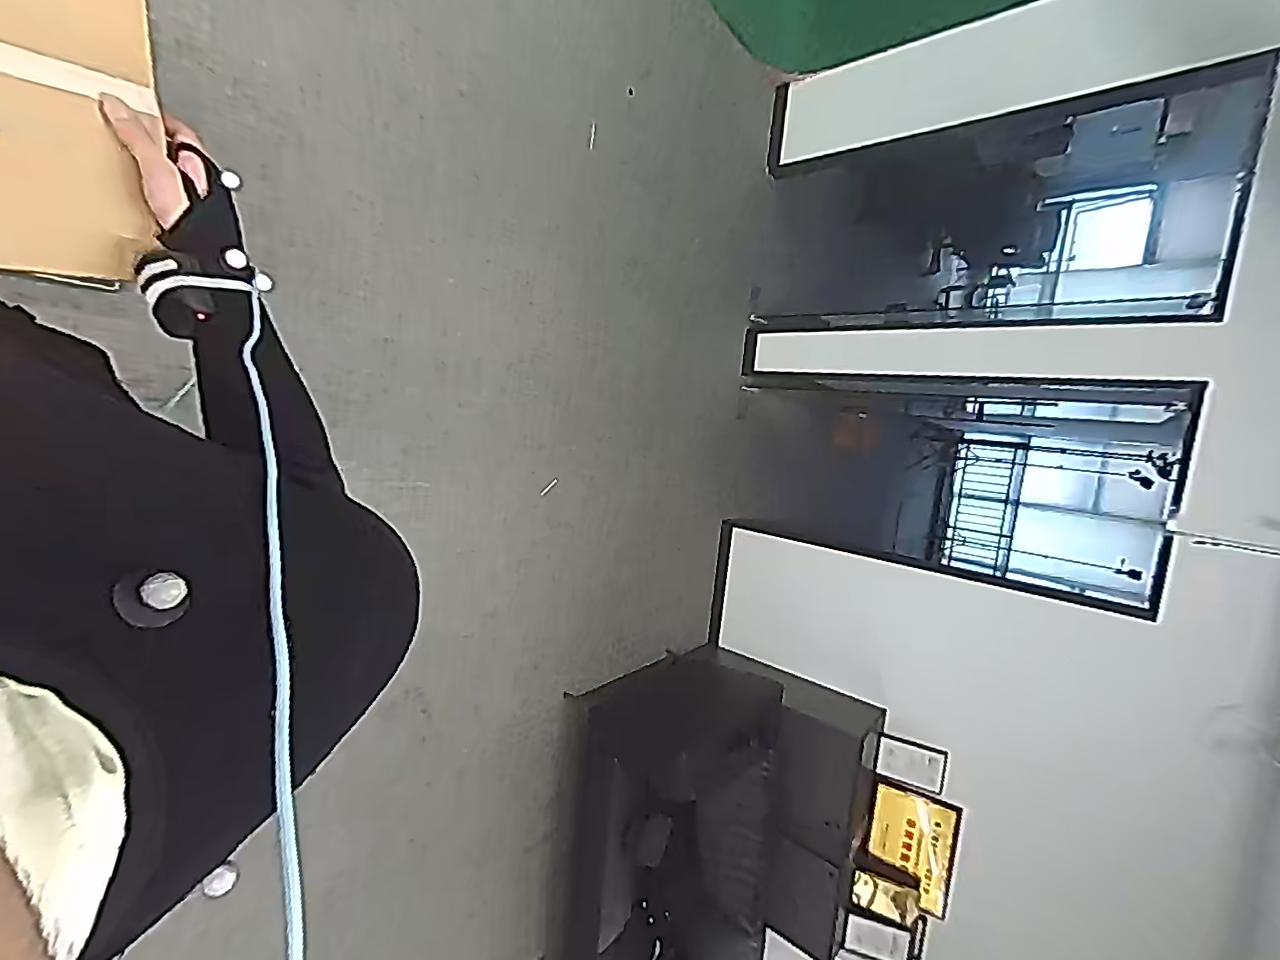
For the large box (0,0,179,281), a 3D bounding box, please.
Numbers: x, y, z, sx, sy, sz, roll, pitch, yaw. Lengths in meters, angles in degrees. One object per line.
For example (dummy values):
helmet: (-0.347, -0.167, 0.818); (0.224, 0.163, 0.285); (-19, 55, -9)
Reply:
large box: (-0.689, -0.347, 0.435); (0.408, 0.320, 0.320); (-14, 116, -51)
